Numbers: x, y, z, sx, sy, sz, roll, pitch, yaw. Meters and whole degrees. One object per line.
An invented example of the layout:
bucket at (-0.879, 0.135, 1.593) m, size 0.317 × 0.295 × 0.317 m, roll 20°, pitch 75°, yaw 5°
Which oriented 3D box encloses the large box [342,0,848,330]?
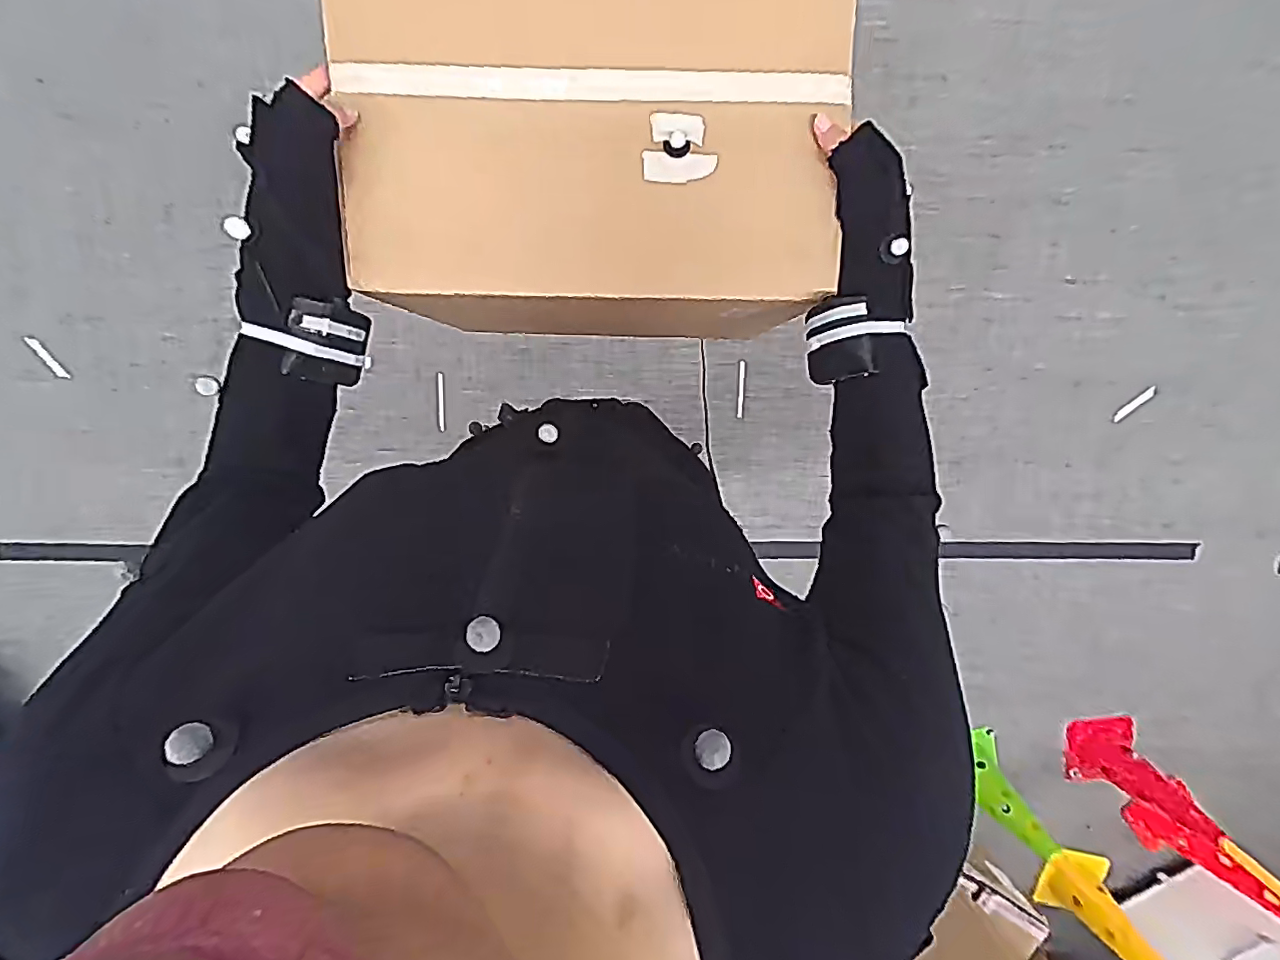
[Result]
large box at (-0.039, -0.338, 0.579) m, size 0.408 × 0.320 × 0.320 m, roll 1°, pitch 99°, yaw -2°
